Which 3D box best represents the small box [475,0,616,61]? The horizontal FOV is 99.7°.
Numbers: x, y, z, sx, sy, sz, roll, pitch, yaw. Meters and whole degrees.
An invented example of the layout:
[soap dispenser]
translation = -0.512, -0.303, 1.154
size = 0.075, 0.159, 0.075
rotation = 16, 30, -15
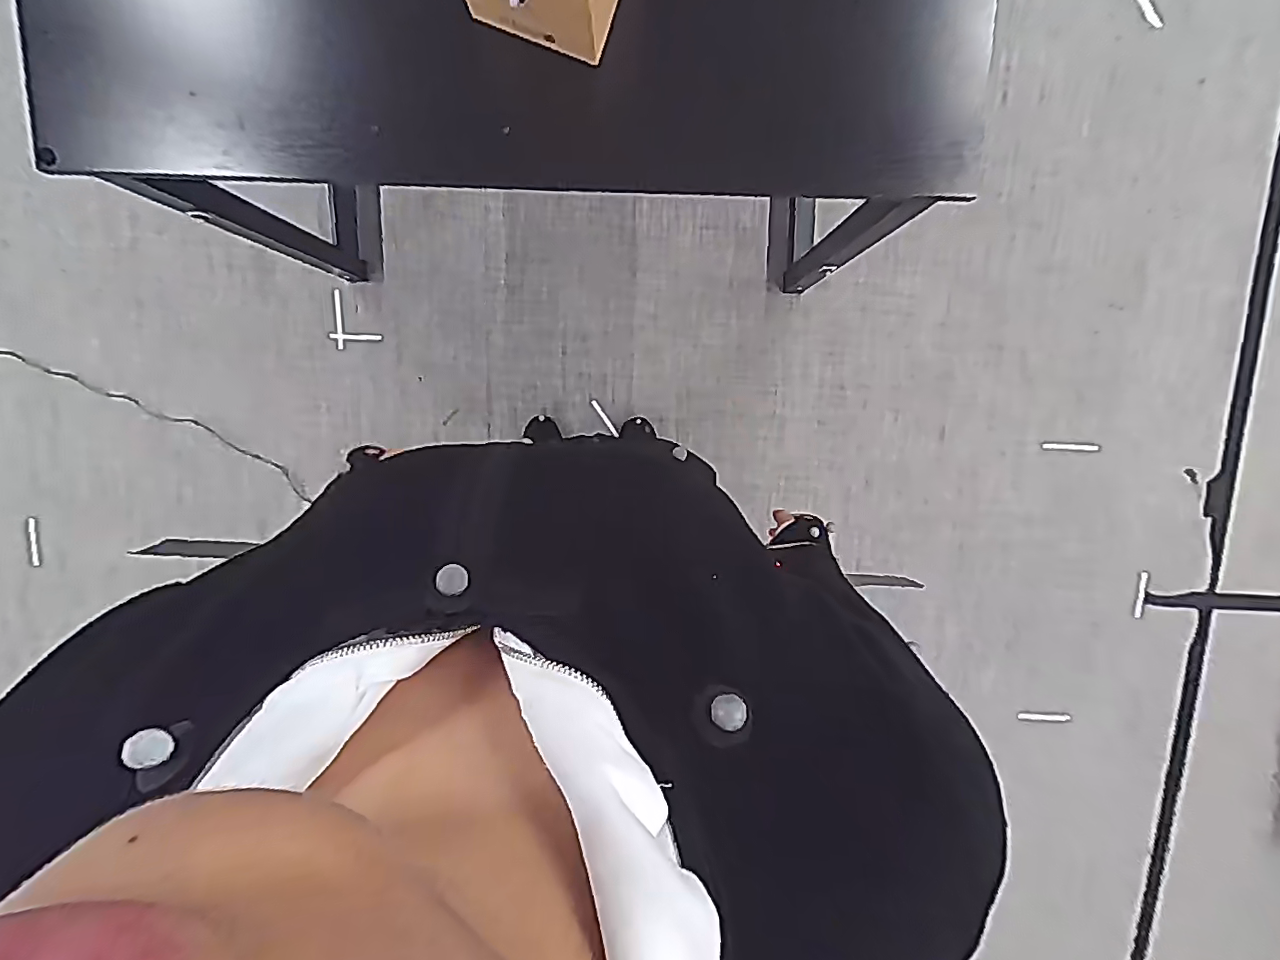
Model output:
[small box]
translation = -0.101, -0.616, 0.589
size = 0.168, 0.176, 0.179
rotation = 19, 97, -3
